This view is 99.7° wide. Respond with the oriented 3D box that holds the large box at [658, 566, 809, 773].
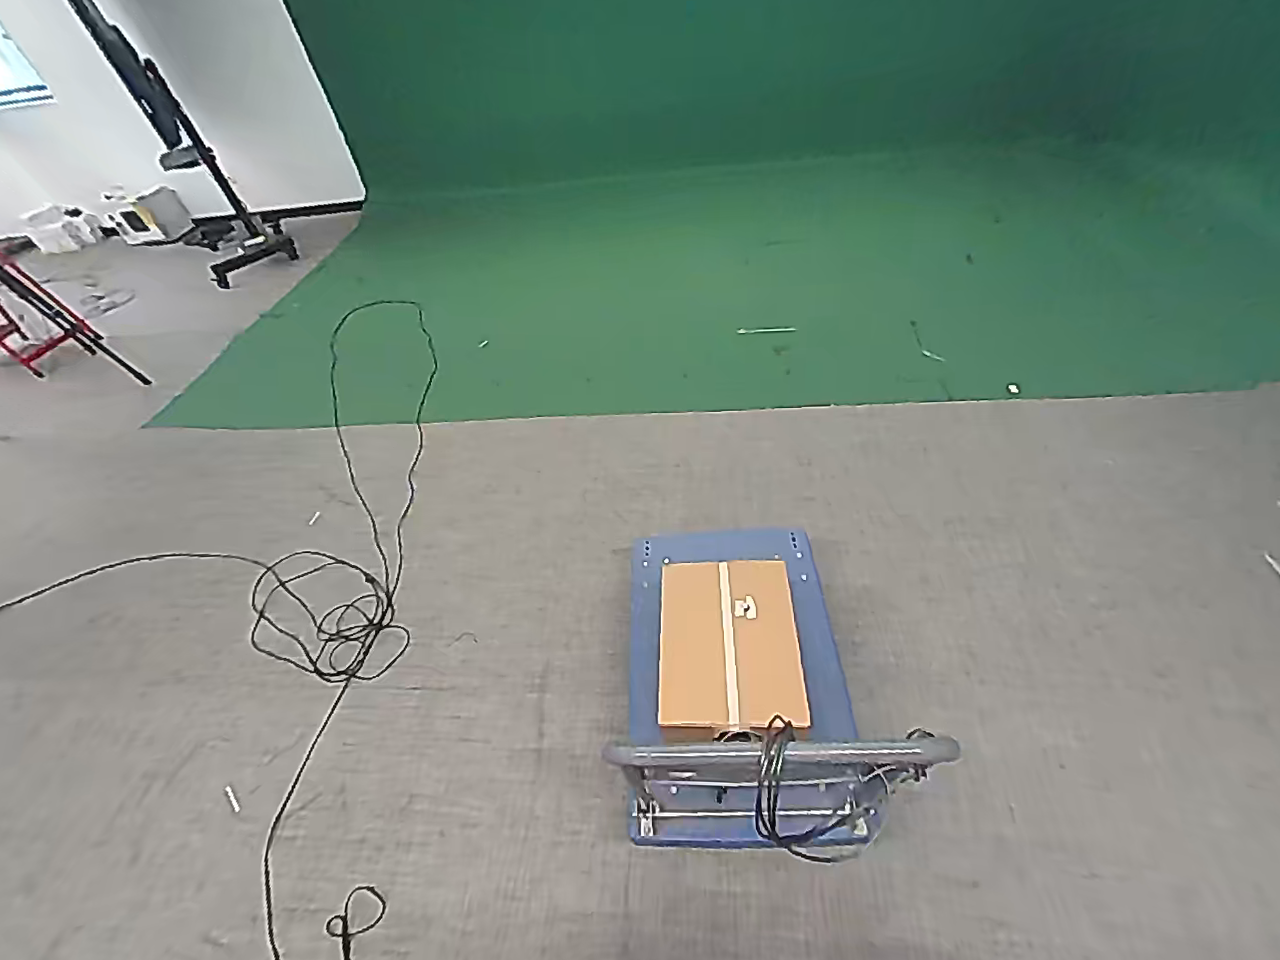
[{"bbox_3d":[0.218,0.472,1.349,0.320,0.320,0.408,-2,46,7],"label":"large box"}]
